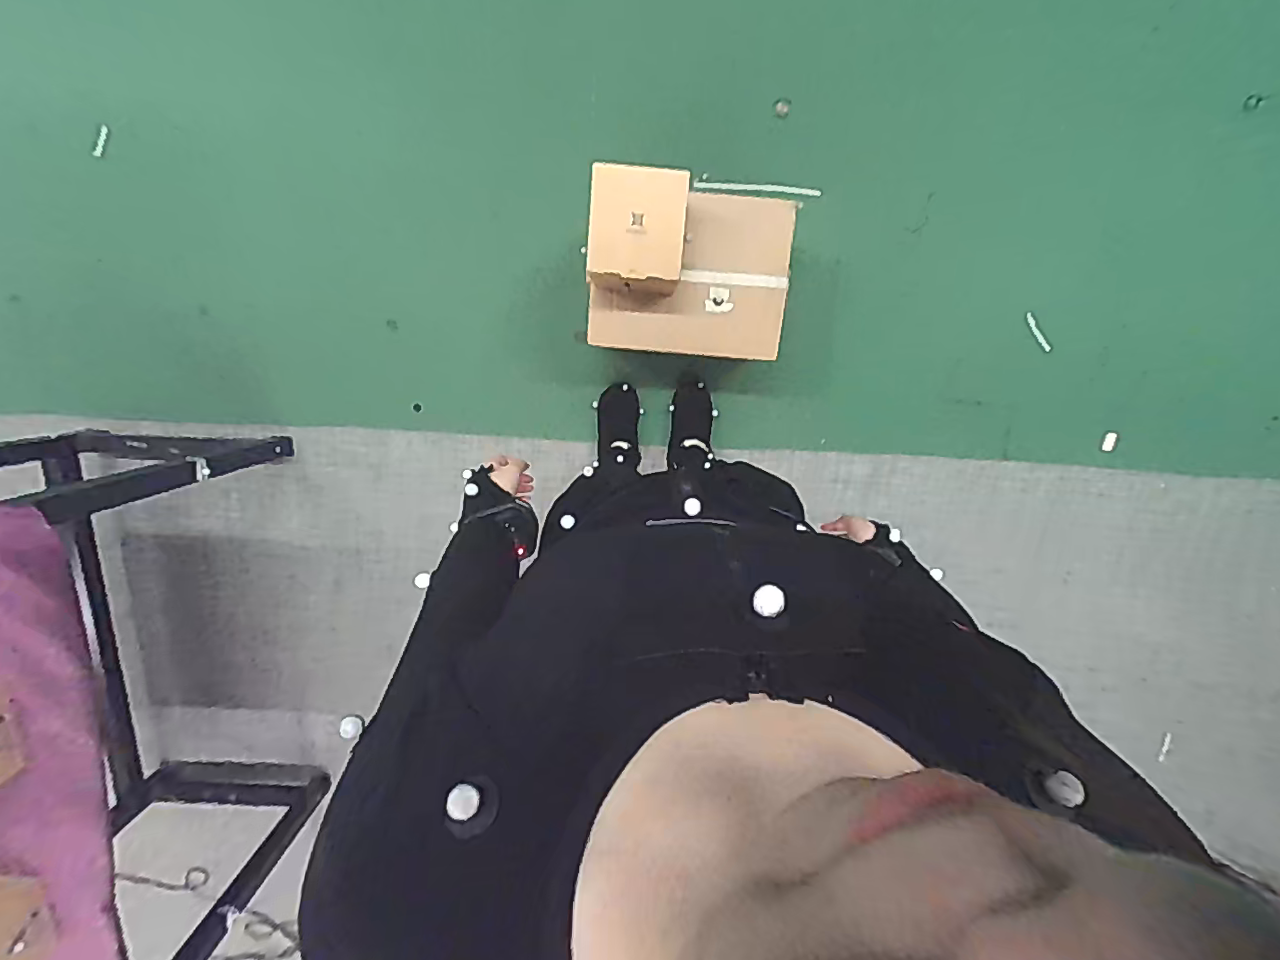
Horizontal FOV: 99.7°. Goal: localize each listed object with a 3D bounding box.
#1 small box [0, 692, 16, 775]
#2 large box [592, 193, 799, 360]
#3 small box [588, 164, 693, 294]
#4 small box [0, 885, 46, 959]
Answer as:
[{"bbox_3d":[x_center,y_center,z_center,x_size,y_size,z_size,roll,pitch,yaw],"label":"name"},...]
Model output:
[{"bbox_3d":[-1.092,0.407,0.782,0.179,0.176,0.168,3,104,0],"label":"small box"},{"bbox_3d":[0.105,-0.444,1.235,0.408,0.320,0.320,4,104,-1],"label":"large box"},{"bbox_3d":[-0.001,-0.447,0.987,0.168,0.176,0.179,5,103,-1],"label":"small box"},{"bbox_3d":[-1.142,0.788,0.871,0.179,0.176,0.168,2,104,2],"label":"small box"}]
